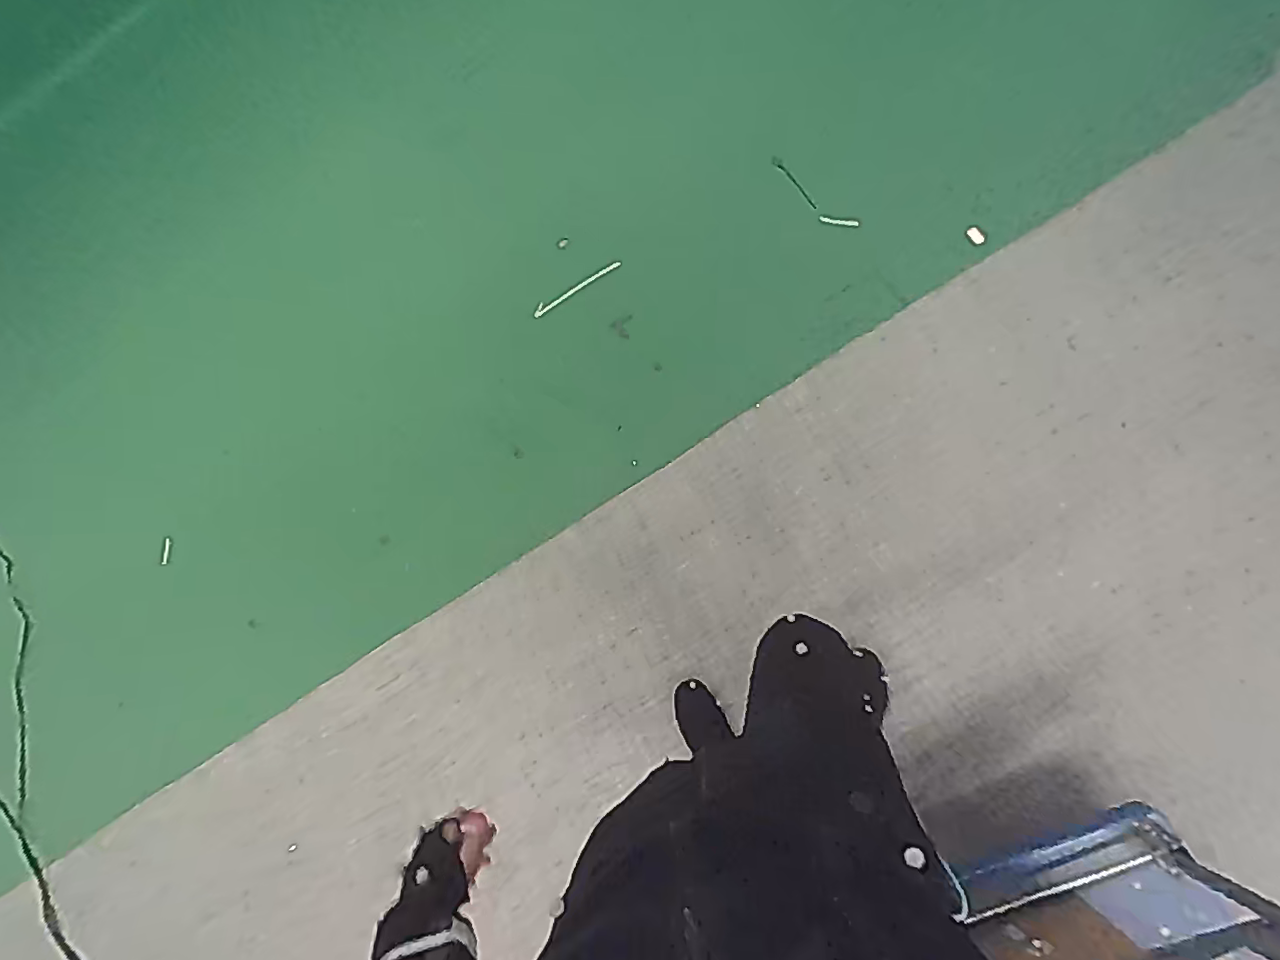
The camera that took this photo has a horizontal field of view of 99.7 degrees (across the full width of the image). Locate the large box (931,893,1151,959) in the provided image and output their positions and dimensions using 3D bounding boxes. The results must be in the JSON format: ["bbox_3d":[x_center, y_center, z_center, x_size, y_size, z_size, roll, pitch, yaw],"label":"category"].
[{"bbox_3d":[0.756,0.996,0.858,0.320,0.320,0.408,-25,74,4],"label":"large box"}]
